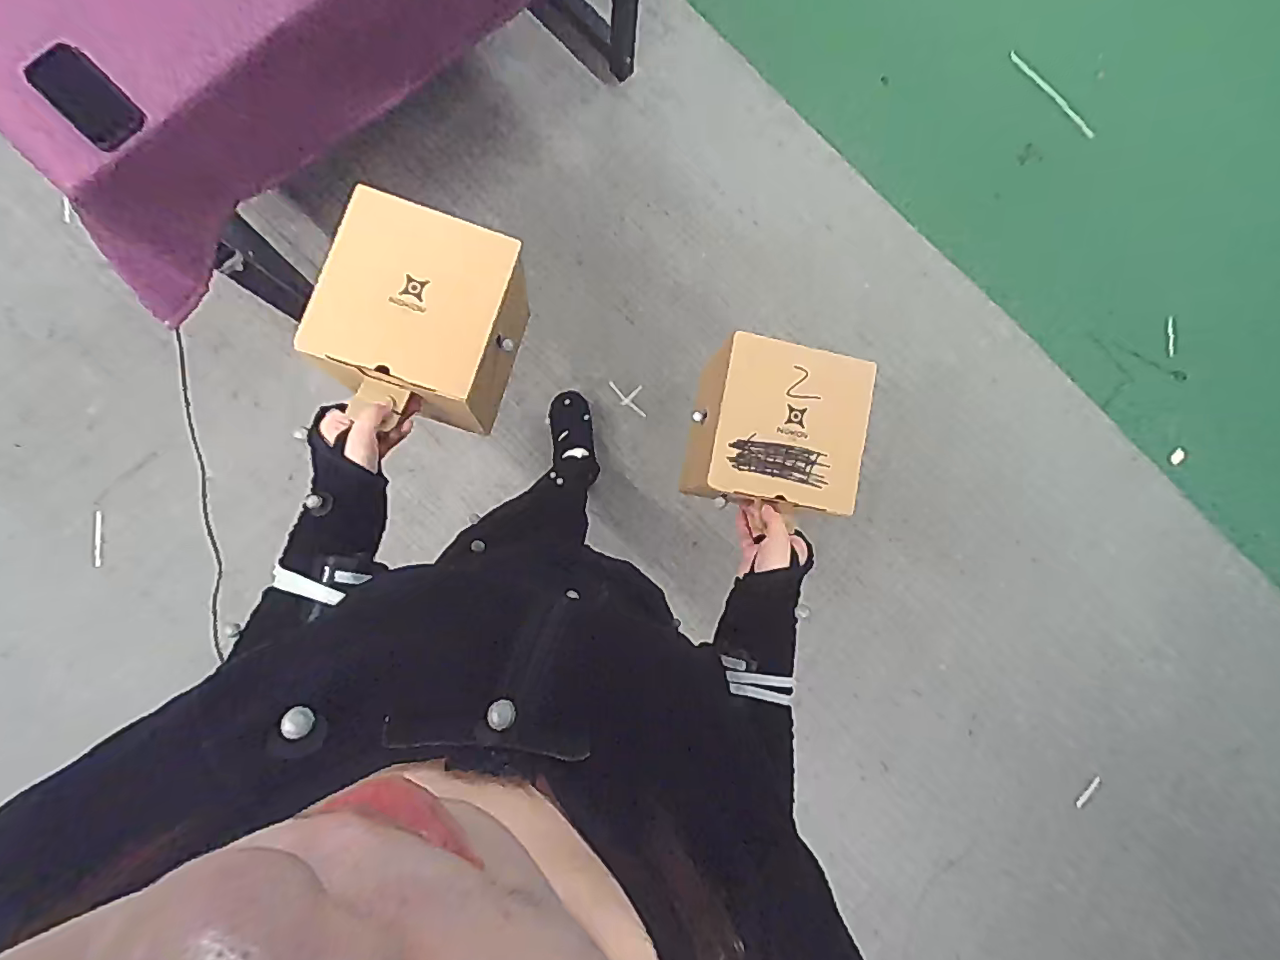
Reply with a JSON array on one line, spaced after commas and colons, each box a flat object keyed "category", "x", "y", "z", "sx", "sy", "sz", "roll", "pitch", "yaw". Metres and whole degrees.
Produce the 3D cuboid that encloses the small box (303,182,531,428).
[{"category": "small box", "x": -0.225, "y": -0.175, "z": 0.598, "sx": 0.168, "sy": 0.176, "sz": 0.179, "roll": 18, "pitch": 82, "yaw": -7}]
